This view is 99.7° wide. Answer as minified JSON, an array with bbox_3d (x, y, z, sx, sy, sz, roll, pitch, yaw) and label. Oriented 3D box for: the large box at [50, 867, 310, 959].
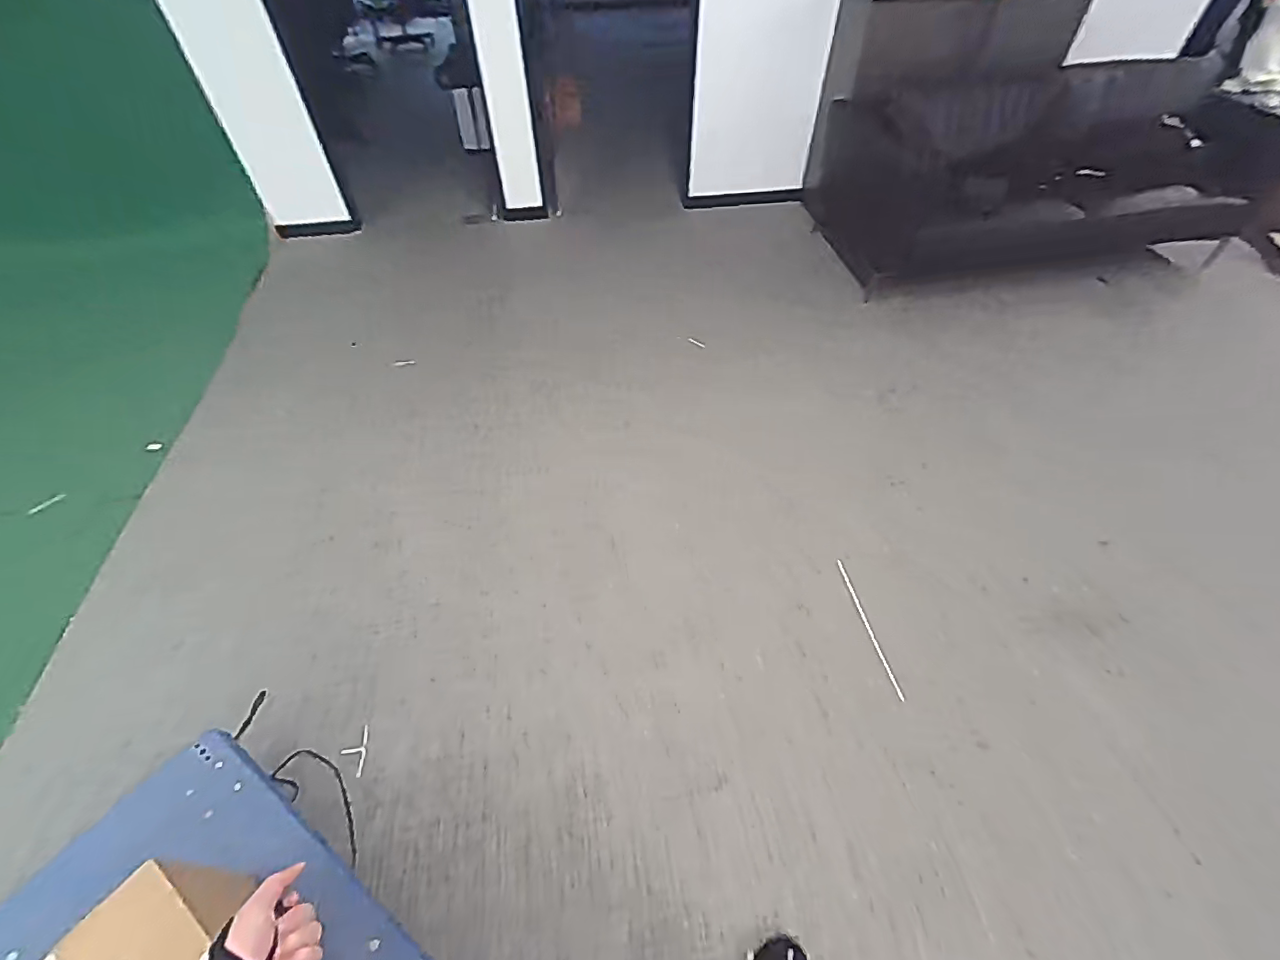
[{"bbox_3d":[-0.756,0.931,0.879,0.408,0.320,0.320,27,54,23],"label":"large box"}]
